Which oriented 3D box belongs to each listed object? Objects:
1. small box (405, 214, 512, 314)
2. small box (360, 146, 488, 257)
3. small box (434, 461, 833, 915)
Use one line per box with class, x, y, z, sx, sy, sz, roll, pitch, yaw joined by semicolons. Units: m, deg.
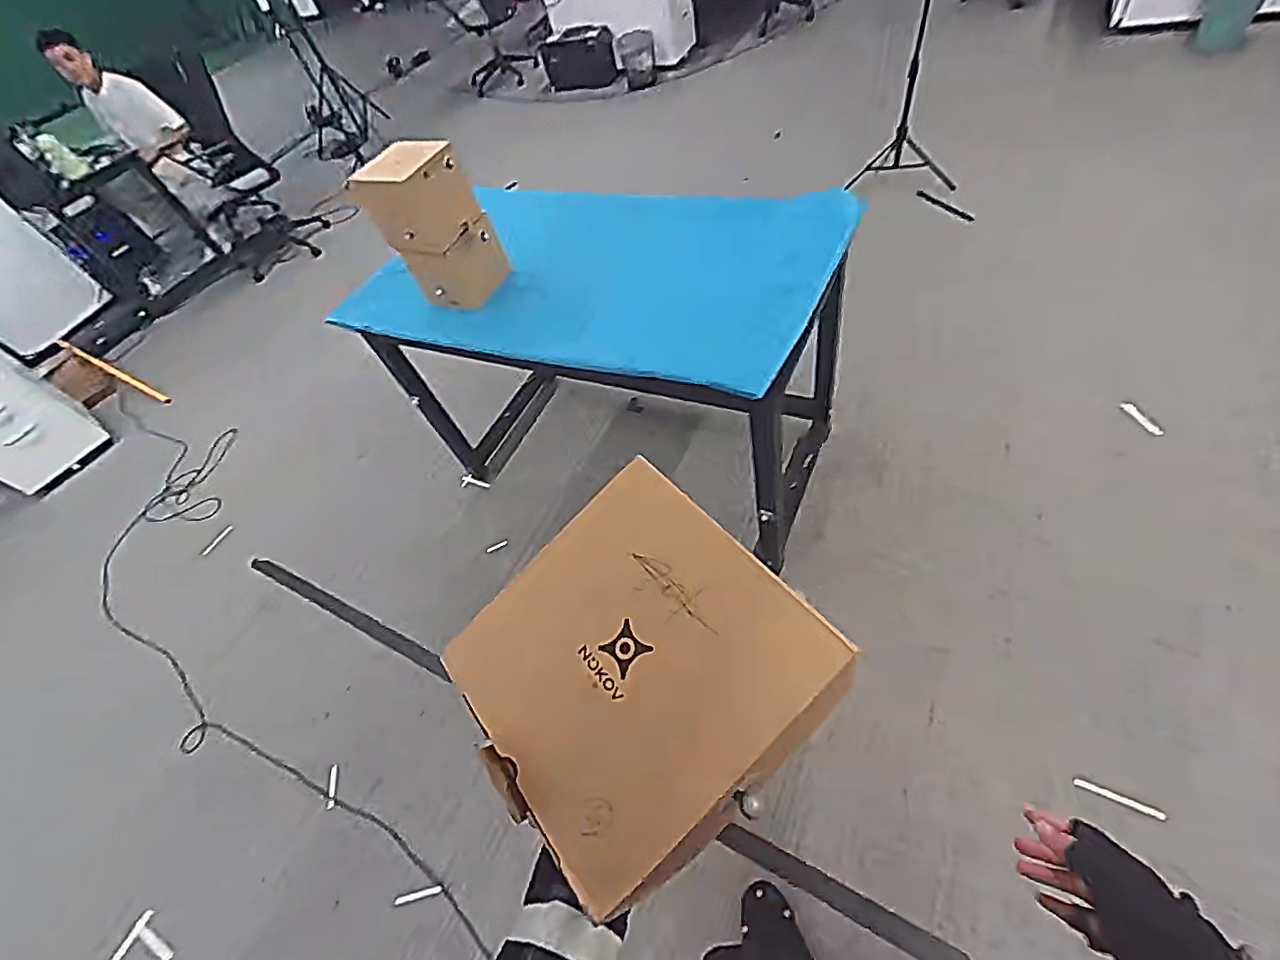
small box;-0.450;-0.551;1.369;0.168;0.176;0.179;17;63;27
small box;-0.490;-0.636;1.231;0.179;0.176;0.168;16;61;25
small box;0.010;0.126;0.359;0.179;0.176;0.168;-46;58;-2
